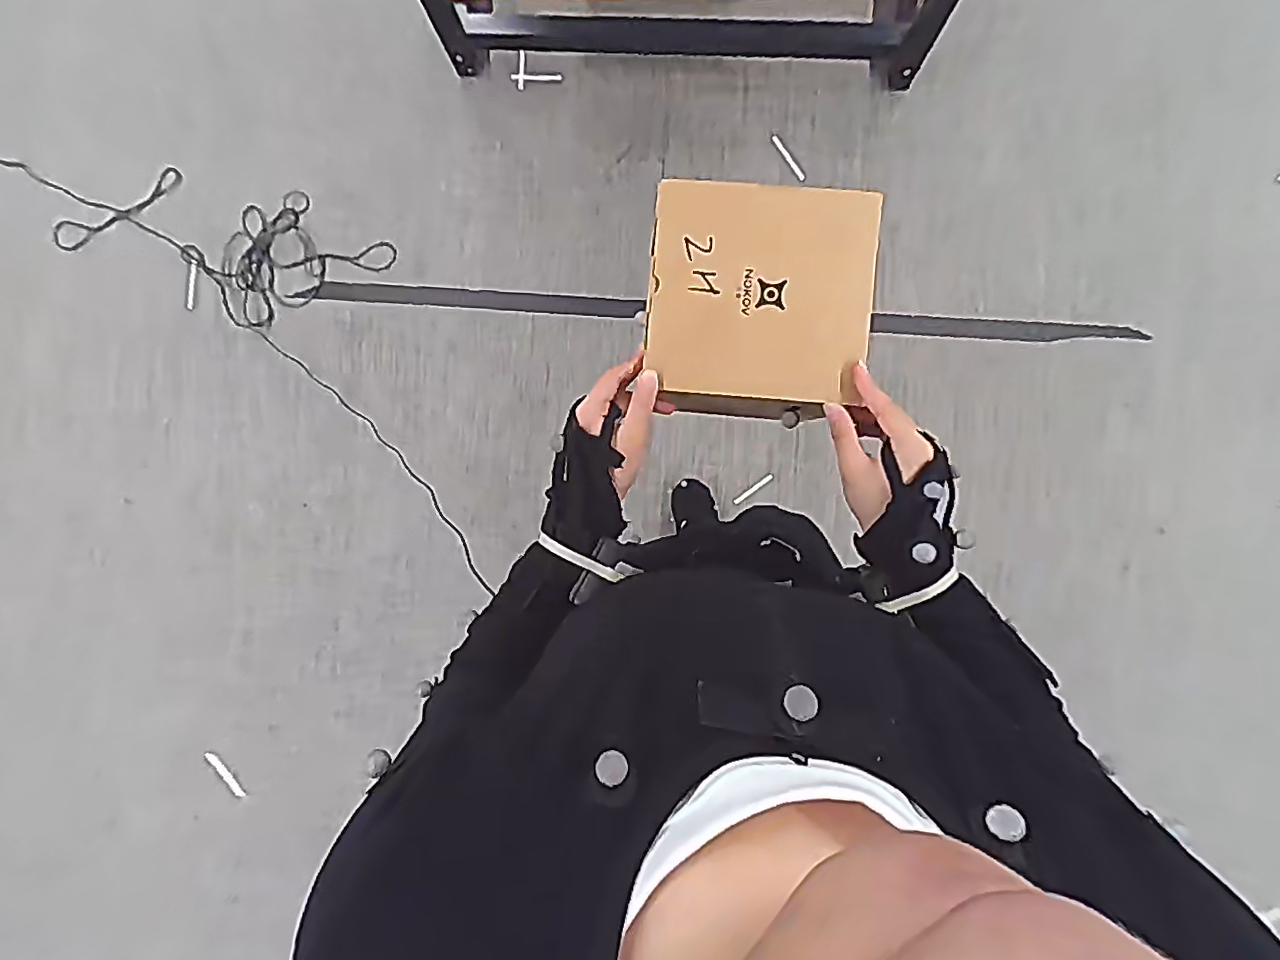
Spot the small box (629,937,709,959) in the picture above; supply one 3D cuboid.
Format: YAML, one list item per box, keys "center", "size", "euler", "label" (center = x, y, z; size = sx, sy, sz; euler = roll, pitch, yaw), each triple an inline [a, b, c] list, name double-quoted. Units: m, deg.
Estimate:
- center: [0.062, 1.105, 1.131]
  size: [0.179, 0.176, 0.168]
  euler: [-2, 89, 4]
  label: "small box"

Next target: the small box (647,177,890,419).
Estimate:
- center: [0.102, -0.149, 0.500]
  size: [0.179, 0.176, 0.168]
  euler: [5, 92, 3]
  label: "small box"

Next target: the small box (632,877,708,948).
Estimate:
- center: [0.068, 1.099, 1.293]
  size: [0.168, 0.176, 0.179]
  euler: [5, 90, 3]
  label: "small box"
